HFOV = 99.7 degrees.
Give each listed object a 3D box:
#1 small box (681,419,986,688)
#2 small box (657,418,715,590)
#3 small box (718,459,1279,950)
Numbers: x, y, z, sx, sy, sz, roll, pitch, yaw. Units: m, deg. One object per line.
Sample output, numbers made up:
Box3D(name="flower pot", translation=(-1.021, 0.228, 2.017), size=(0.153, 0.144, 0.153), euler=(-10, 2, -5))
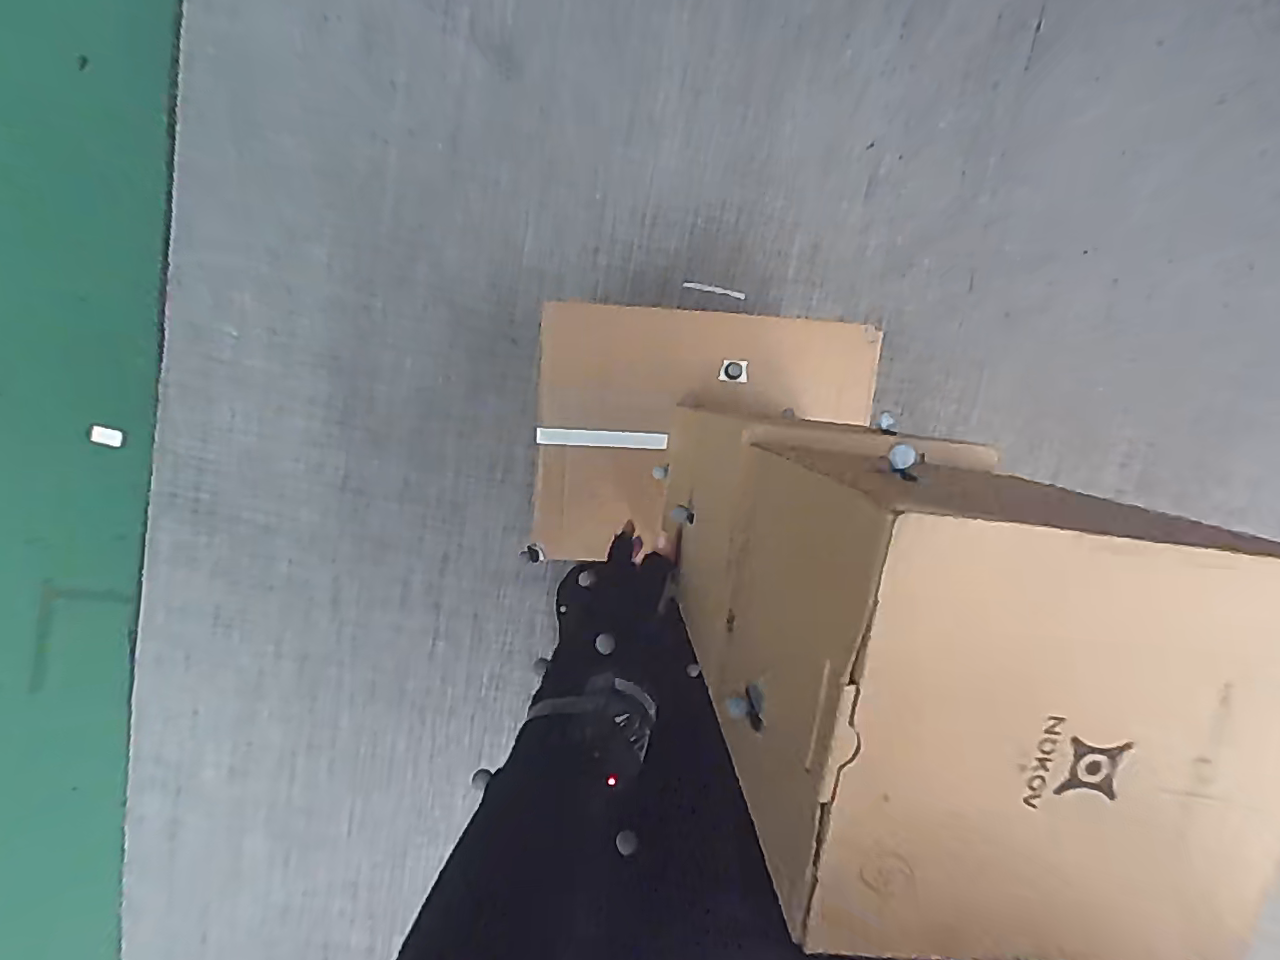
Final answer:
Box3D(name="small box", translation=(0.130, 0.050, 0.436), size=(0.168, 0.176, 0.179), euler=(5, 99, -4))
Box3D(name="small box", translation=(0.122, 0.025, 0.598), size=(0.179, 0.176, 0.168), euler=(8, 98, -4))
Box3D(name="small box", translation=(0.147, 0.086, 0.278), size=(0.179, 0.176, 0.168), euler=(6, 101, -6))
